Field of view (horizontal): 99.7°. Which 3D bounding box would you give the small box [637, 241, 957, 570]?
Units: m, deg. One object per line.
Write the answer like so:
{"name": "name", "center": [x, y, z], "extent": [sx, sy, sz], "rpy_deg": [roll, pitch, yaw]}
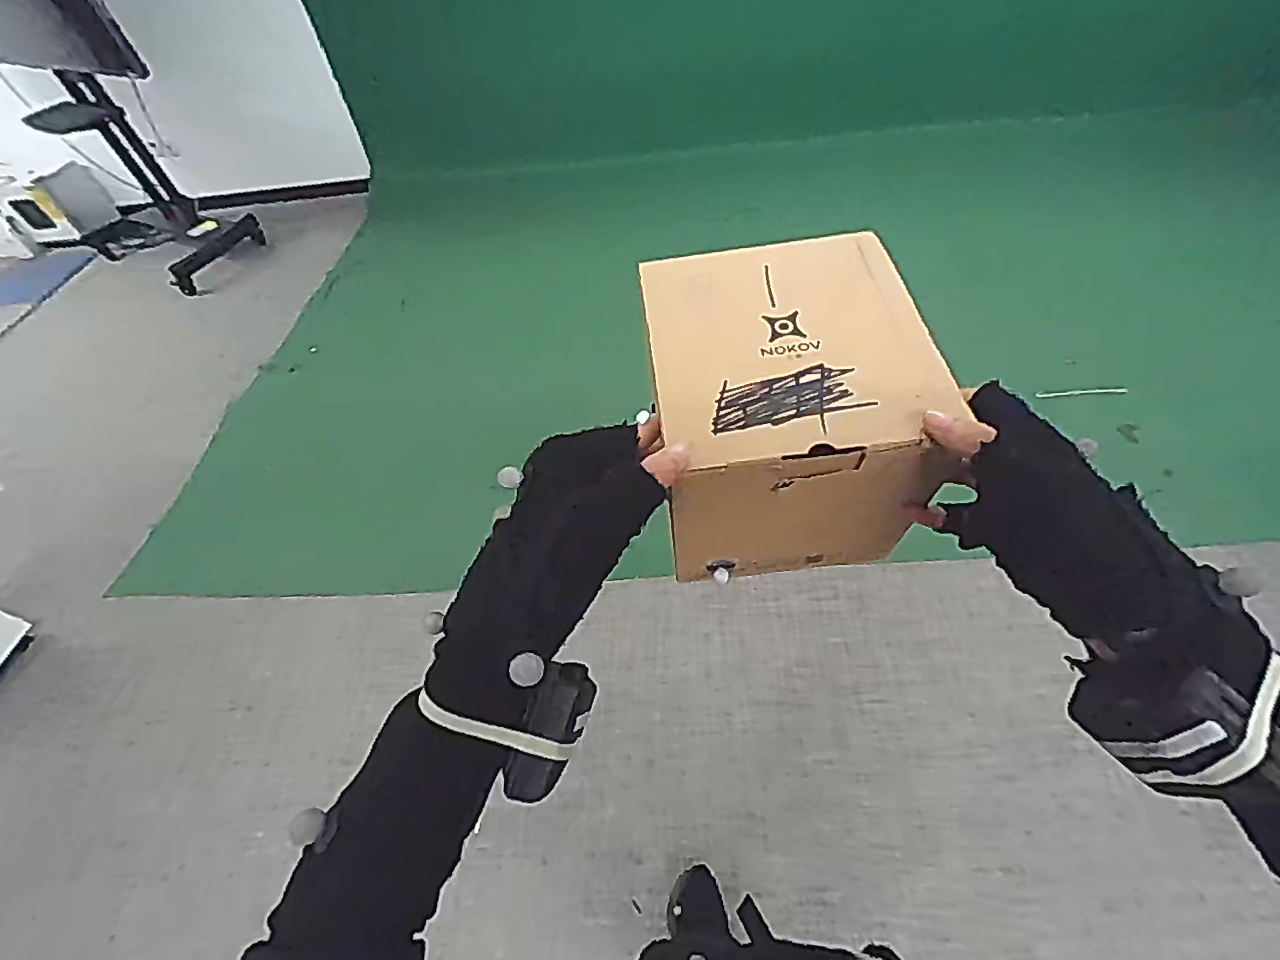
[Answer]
{"name": "small box", "center": [0.093, -0.042, 0.404], "extent": [0.168, 0.176, 0.179], "rpy_deg": [-7, 58, 2]}
